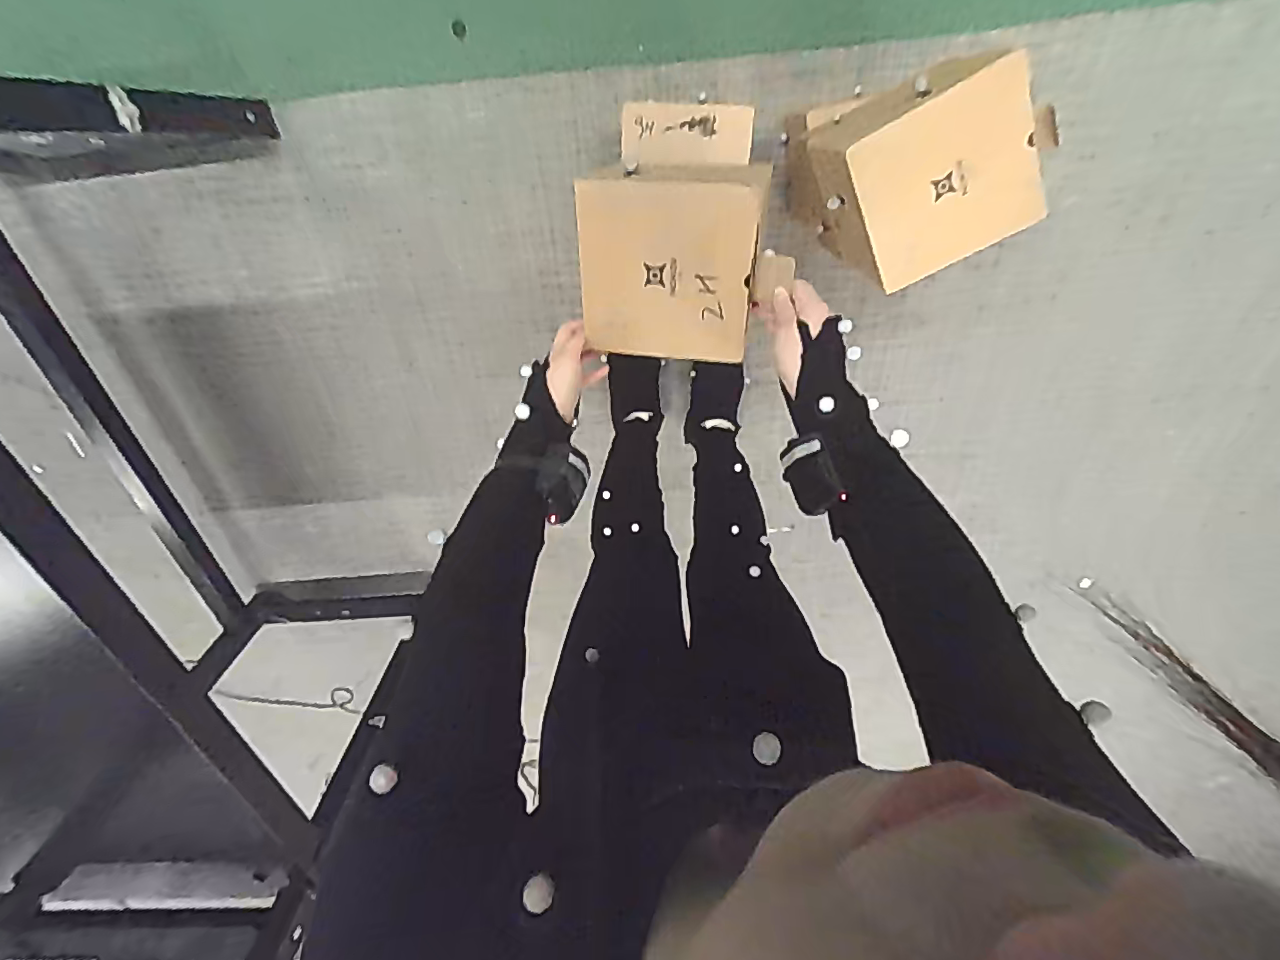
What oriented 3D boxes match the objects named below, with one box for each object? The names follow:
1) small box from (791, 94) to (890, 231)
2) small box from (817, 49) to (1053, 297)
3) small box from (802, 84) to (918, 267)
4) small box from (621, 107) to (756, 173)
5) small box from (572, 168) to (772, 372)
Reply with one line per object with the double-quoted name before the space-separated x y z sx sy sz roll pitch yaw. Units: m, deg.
"small box" 0.350 -0.522 0.888 0.179 0.176 0.168 -10 122 7
"small box" 0.319 -0.341 0.618 0.179 0.176 0.168 -25 119 16
"small box" 0.339 -0.426 0.757 0.179 0.176 0.168 -21 121 13
"small box" 0.061 -0.419 0.768 0.168 0.176 0.179 3 122 1
"small box" 0.041 -0.232 0.582 0.179 0.176 0.168 7 126 11
